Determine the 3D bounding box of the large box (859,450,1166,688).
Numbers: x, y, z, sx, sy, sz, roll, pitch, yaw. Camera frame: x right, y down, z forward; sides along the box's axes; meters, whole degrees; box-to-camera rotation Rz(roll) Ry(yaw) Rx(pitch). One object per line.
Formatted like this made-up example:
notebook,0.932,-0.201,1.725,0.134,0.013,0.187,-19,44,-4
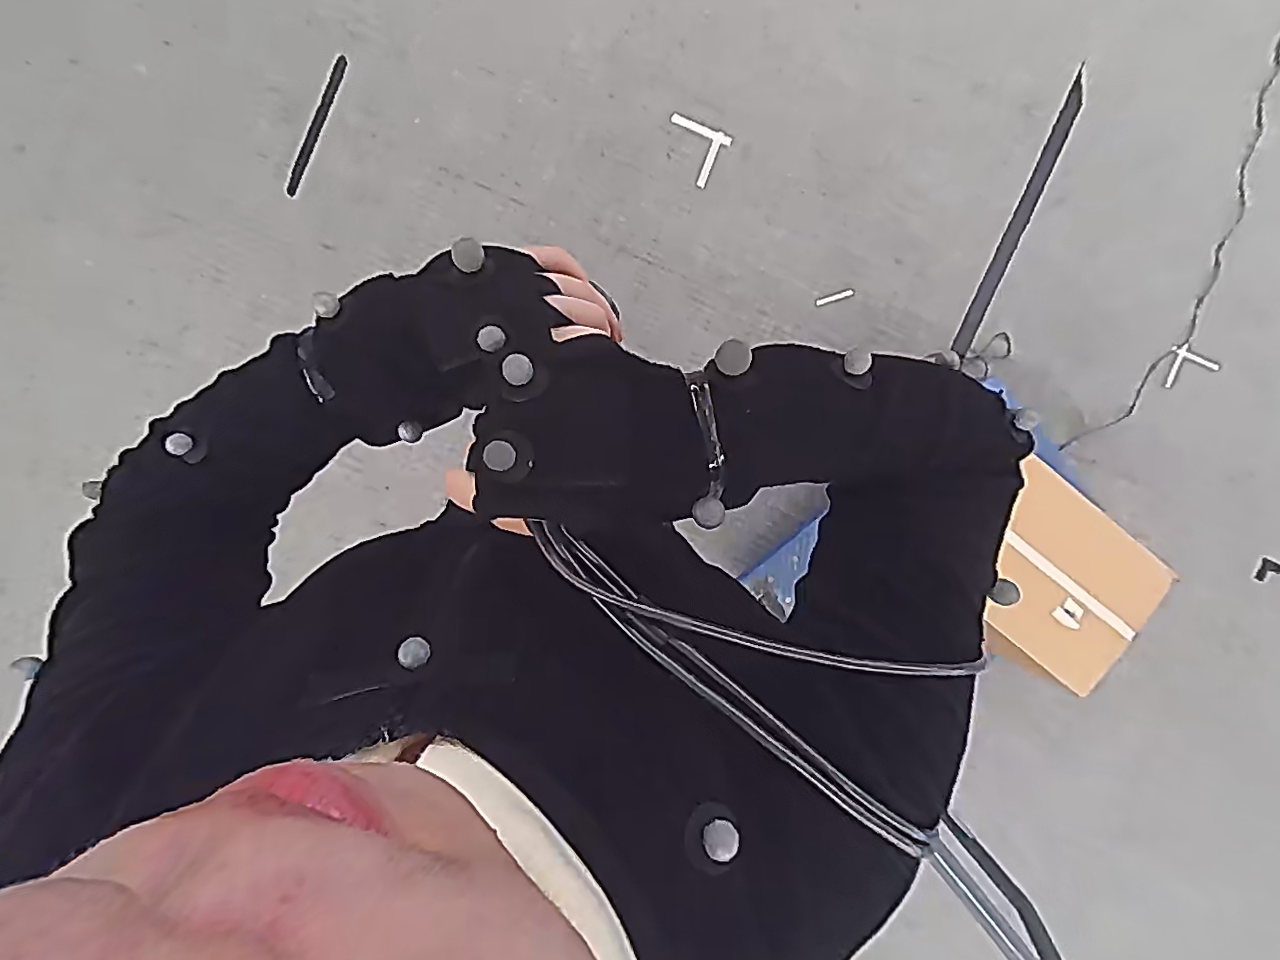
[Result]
large box,0.793,0.172,1.209,0.408,0.320,0.320,39,90,-4
